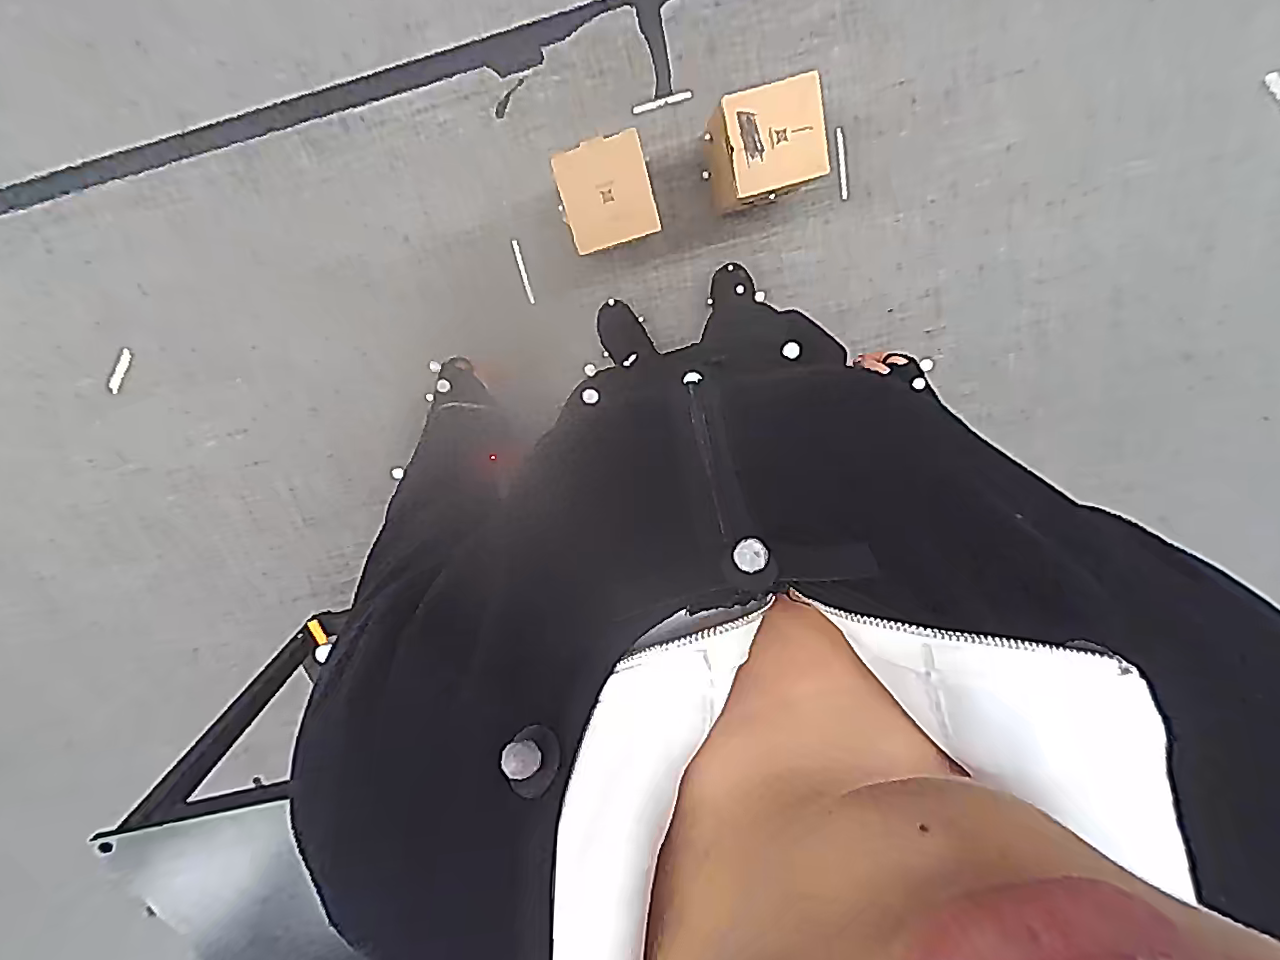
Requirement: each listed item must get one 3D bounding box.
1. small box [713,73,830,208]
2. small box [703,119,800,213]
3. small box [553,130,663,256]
[{"bbox_3d":[0.243,-0.639,1.041,0.179,0.176,0.168,-14,111,3],"label":"small box"},{"bbox_3d":[0.242,-0.701,1.194,0.168,0.176,0.179,-13,113,2],"label":"small box"},{"bbox_3d":[-0.059,-0.552,1.066,0.168,0.176,0.179,-16,112,6],"label":"small box"}]
